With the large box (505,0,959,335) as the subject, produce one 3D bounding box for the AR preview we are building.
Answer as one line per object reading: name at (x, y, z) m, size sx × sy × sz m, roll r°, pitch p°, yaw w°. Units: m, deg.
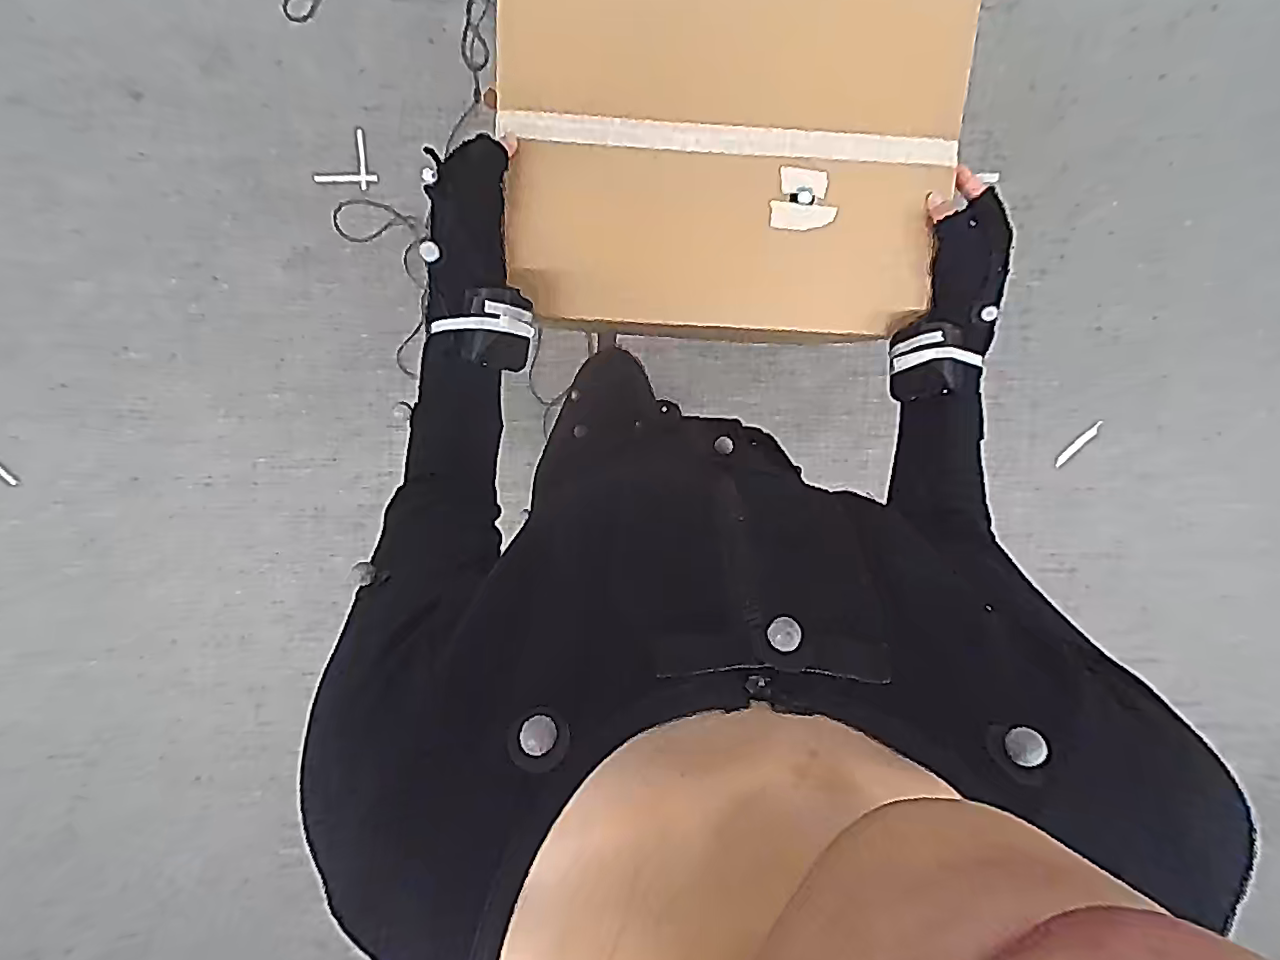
large box at (0.071, -0.341, 0.637) m, size 0.408 × 0.320 × 0.320 m, roll 2°, pitch 104°, yaw -3°
